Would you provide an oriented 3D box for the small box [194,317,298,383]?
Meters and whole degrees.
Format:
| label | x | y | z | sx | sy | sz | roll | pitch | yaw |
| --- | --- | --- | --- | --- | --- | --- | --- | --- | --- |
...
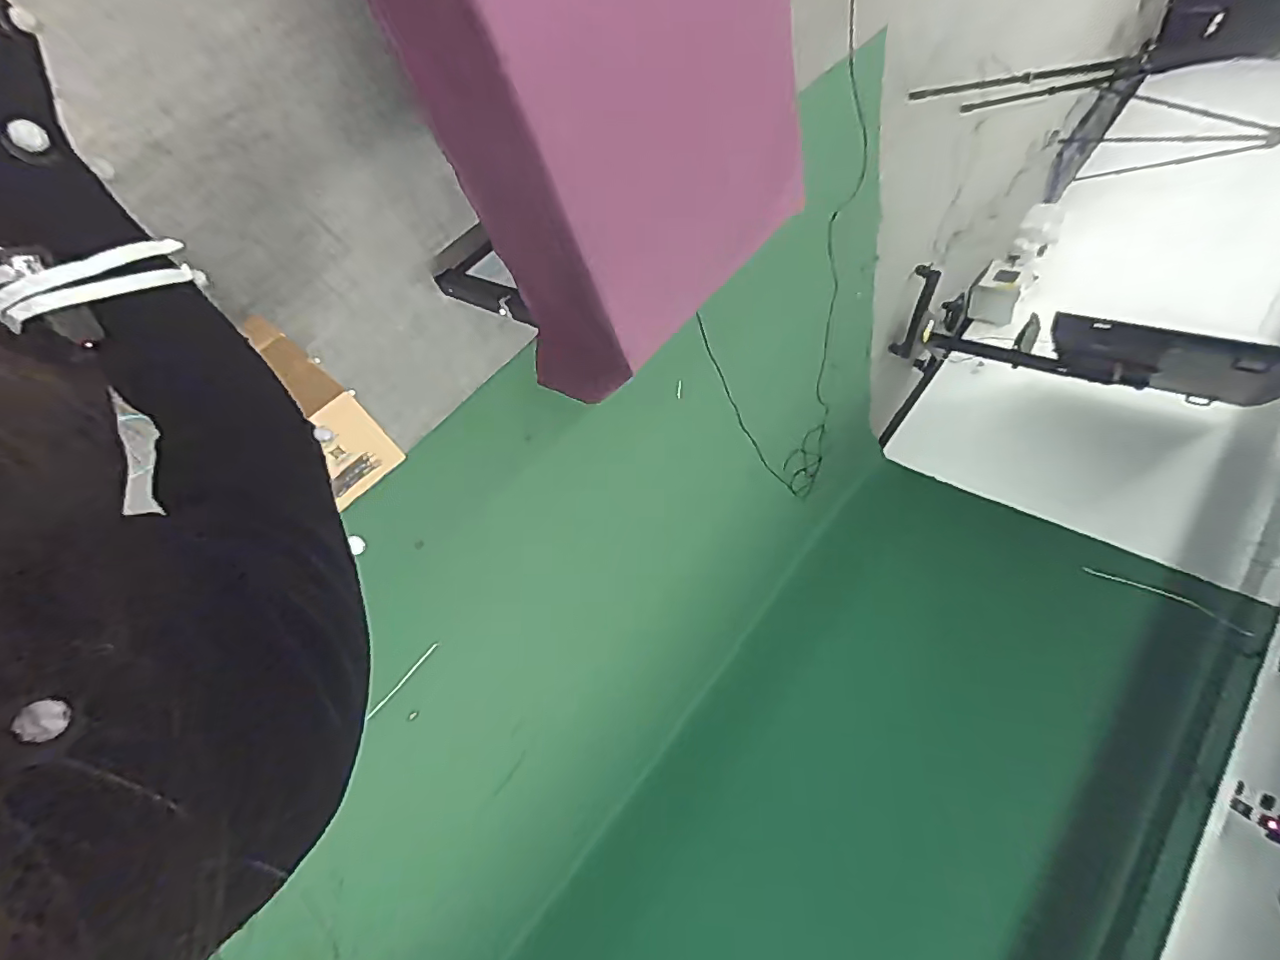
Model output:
| label | x | y | z | sx | sy | sz | roll | pitch | yaw |
| --- | --- | --- | --- | --- | --- | --- | --- | --- | --- |
| small box | -0.808 | -0.232 | 1.169 | 0.168 | 0.176 | 0.179 | -46 | 143 | -21 |

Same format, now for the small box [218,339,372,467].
| label | x | y | z | sx | sy | sz | roll | pitch | yaw |
| --- | --- | --- | --- | --- | --- | --- | --- | --- | --- |
| small box | -0.690 | -0.162 | 1.081 | 0.168 | 0.176 | 0.179 | -47 | 143 | -18 |
